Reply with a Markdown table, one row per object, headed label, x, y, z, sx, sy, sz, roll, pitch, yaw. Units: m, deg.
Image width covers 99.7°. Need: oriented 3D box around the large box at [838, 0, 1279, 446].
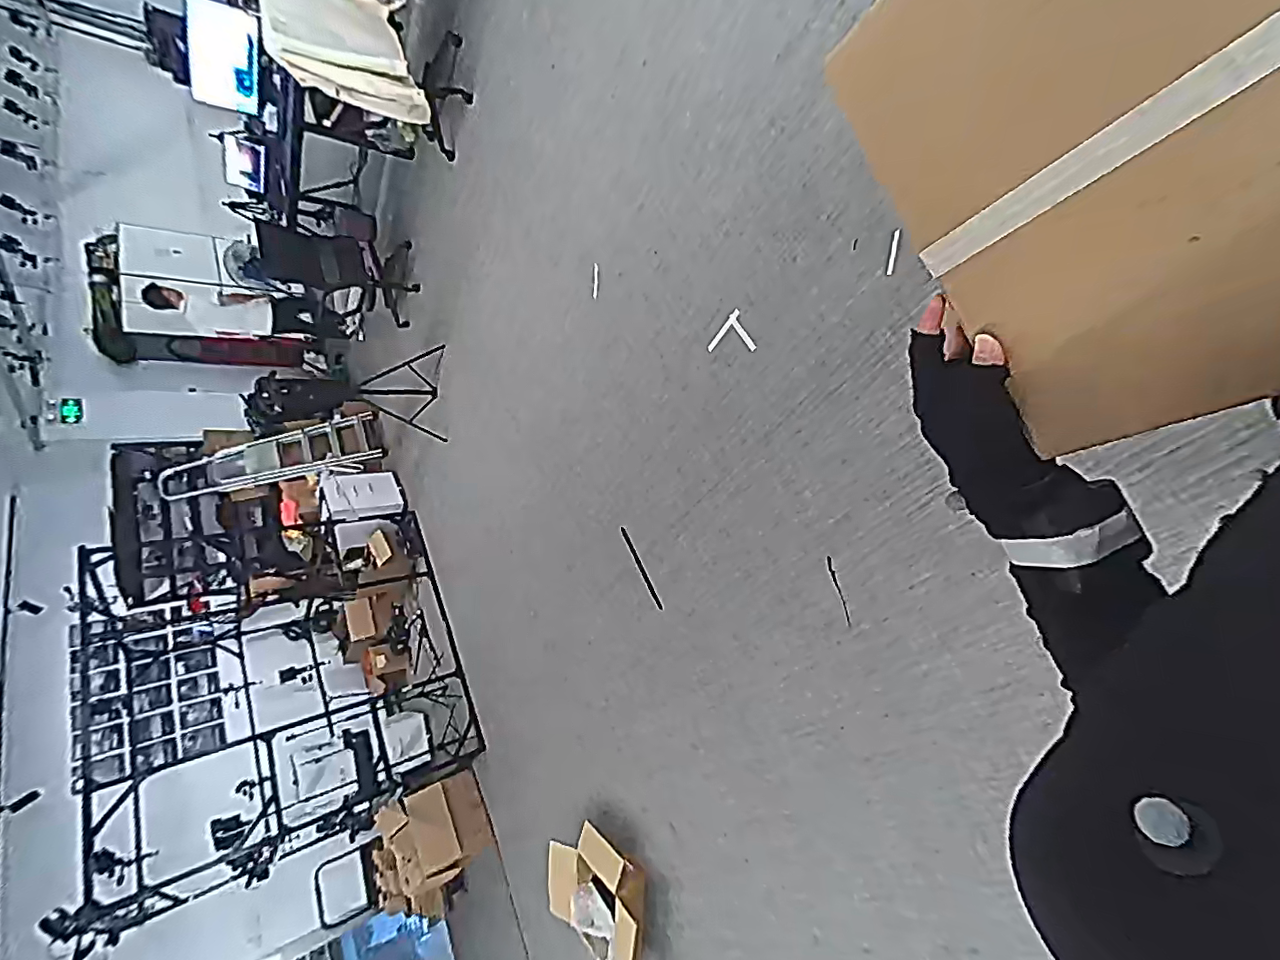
| label | x | y | z | sx | sy | sz | roll | pitch | yaw |
| --- | --- | --- | --- | --- | --- | --- | --- | --- | --- |
| large box | 0.417 | -0.270 | 0.318 | 0.408 | 0.320 | 0.320 | -29 | 91 | 53 |
